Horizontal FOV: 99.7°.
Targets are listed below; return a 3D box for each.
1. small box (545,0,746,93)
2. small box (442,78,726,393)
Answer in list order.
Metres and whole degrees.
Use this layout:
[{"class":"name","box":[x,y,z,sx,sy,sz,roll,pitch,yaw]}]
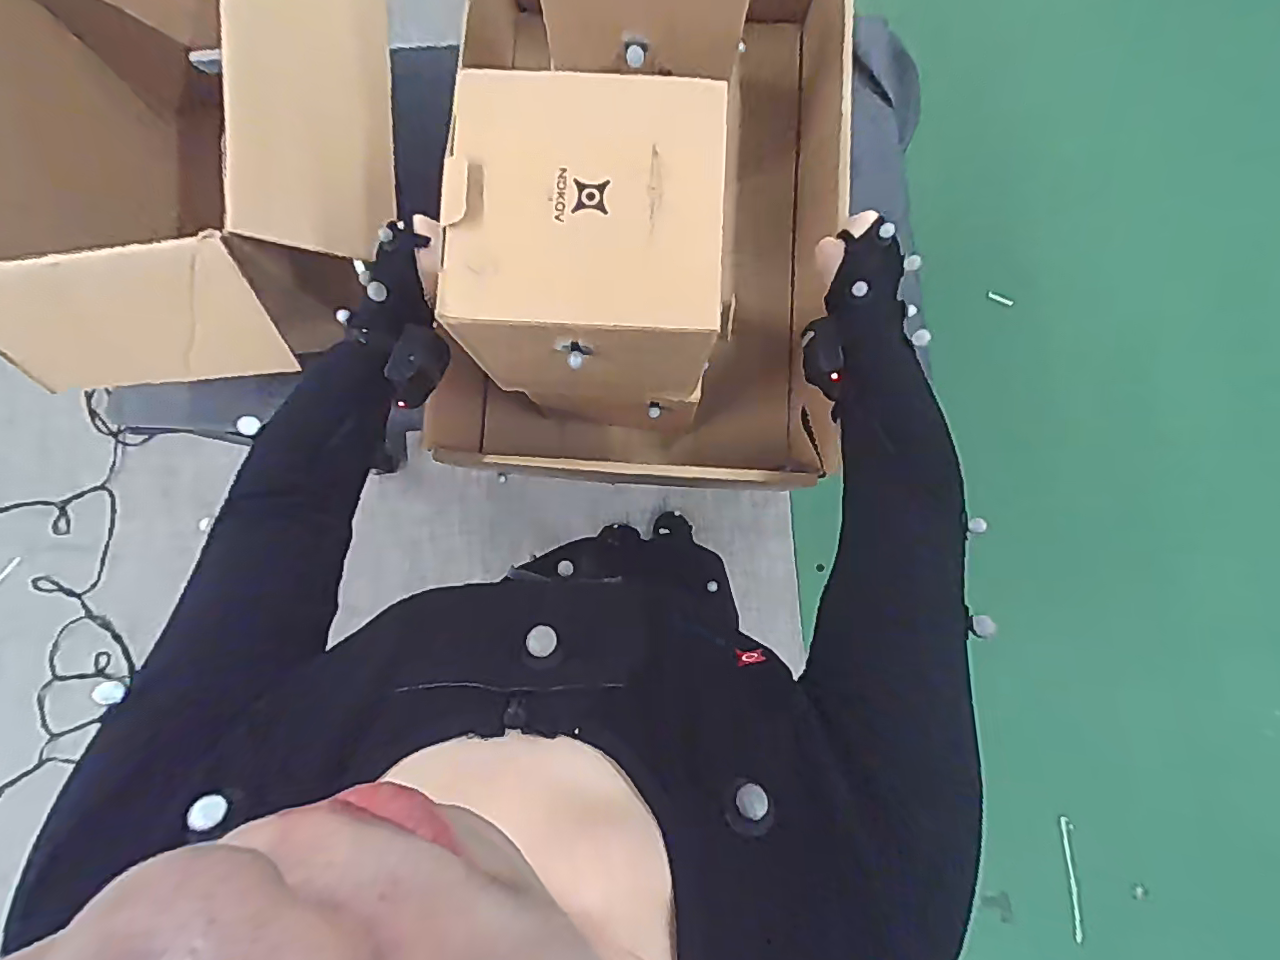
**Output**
[{"class":"small box","box":[0.007,-0.459,0.444,0.168,0.176,0.179,3,87,0]},{"class":"small box","box":[-0.035,-0.169,0.424,0.179,0.176,0.168,2,85,-1]}]
